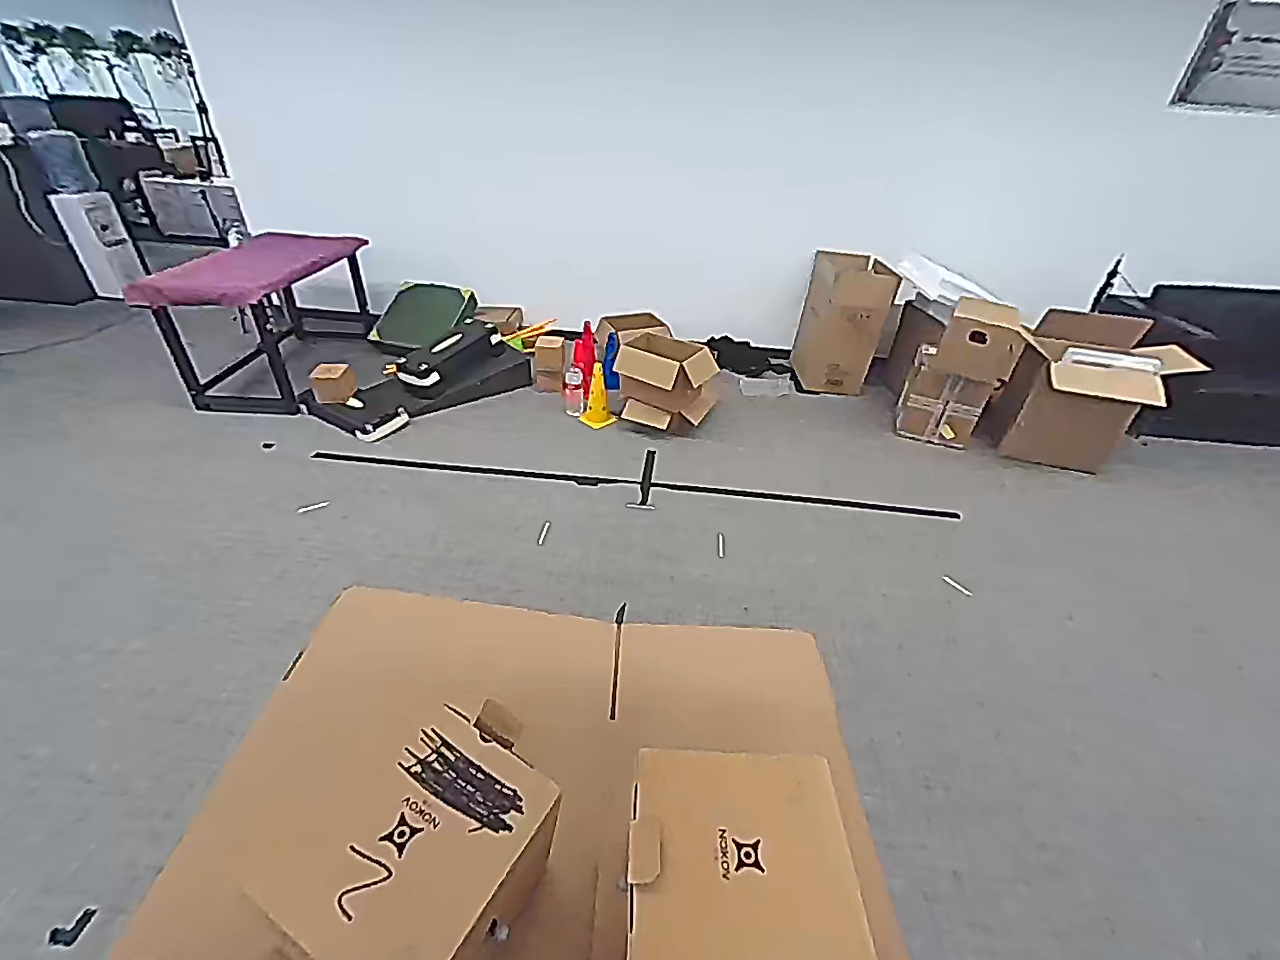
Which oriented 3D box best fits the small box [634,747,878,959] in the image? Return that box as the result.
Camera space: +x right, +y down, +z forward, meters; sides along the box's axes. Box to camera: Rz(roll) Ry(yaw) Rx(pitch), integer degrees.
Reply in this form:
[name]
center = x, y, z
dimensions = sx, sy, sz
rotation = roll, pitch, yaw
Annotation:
[small box]
center = 0.085, 0.367, 0.487
dimensions = 0.179, 0.176, 0.168
rotation = 1, 35, 1
